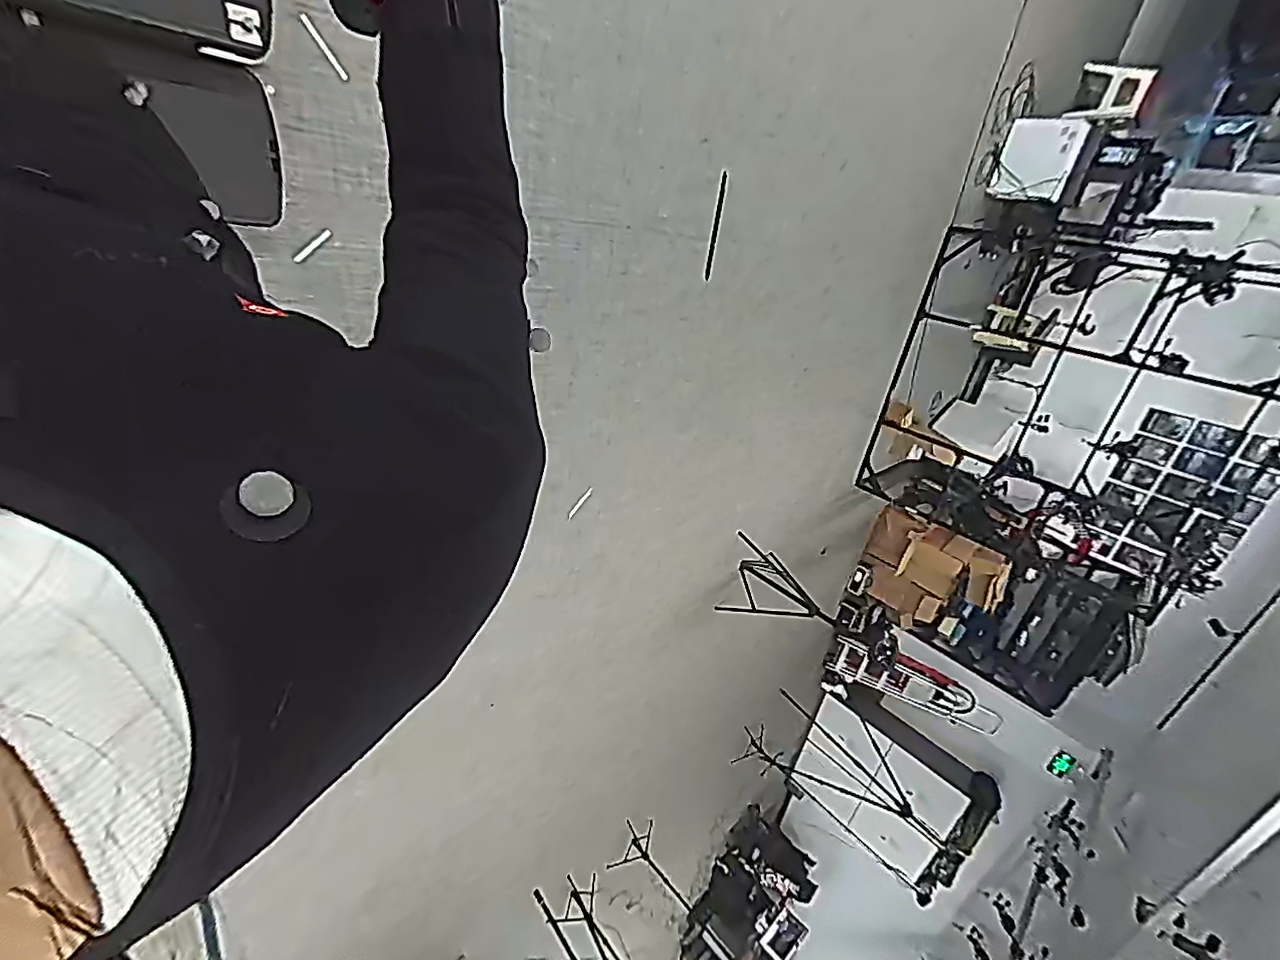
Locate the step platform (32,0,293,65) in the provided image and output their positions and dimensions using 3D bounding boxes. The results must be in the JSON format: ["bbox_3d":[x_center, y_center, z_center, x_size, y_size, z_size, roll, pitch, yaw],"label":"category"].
[{"bbox_3d":[-0.899,-0.850,0.768,0.684,0.204,0.286,-18,128,-42],"label":"step platform"}]
